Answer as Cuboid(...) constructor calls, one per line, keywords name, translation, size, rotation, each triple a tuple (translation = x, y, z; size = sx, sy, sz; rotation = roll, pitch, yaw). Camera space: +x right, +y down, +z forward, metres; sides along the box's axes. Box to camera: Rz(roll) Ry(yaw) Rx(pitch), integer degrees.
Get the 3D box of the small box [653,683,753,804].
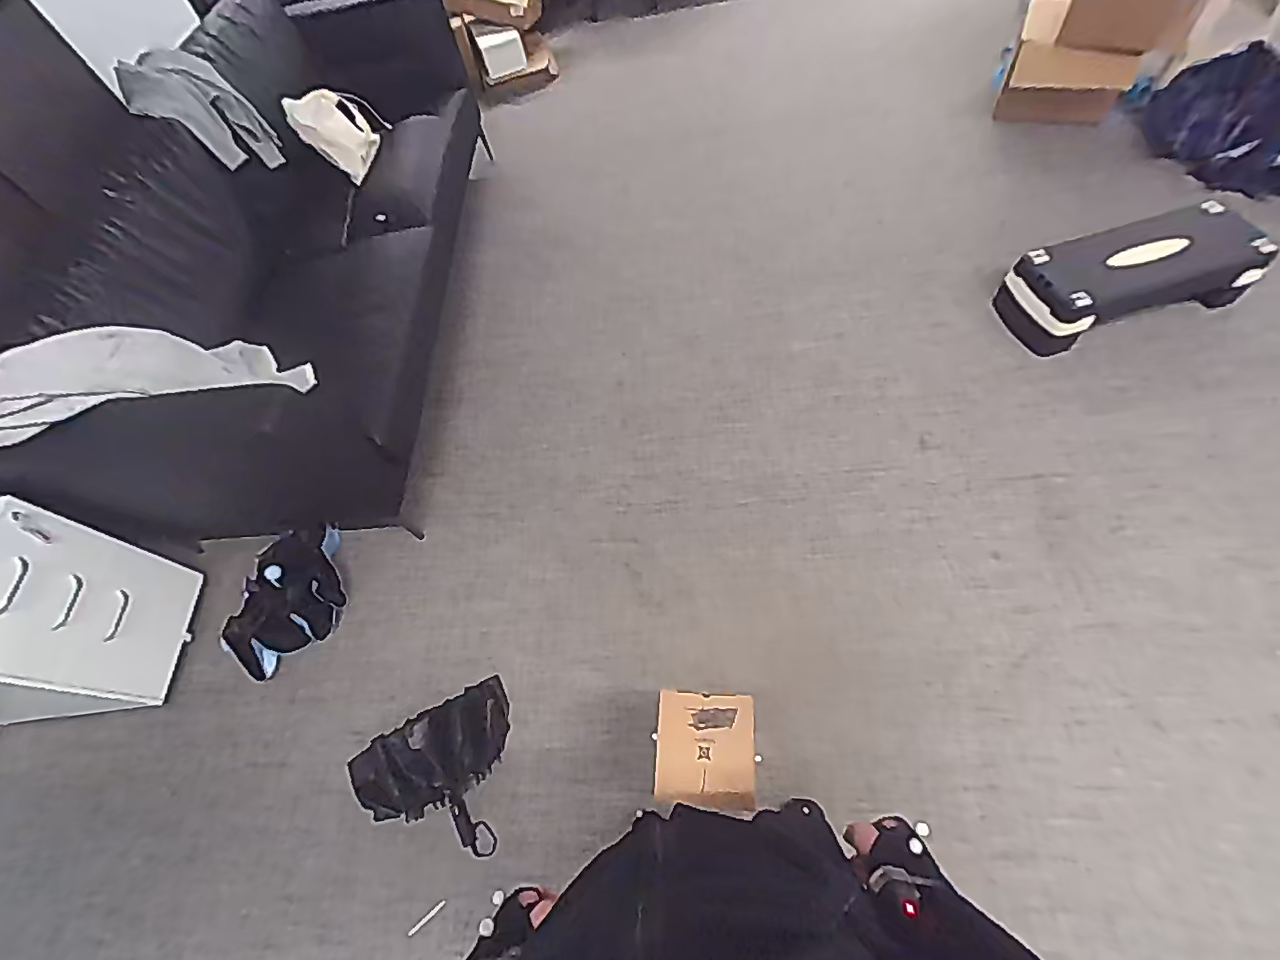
Cuboid(name="small box", translation=(0.119, 0.481, 0.991), size=(0.168, 0.176, 0.179), rotation=(1, 62, 9))
